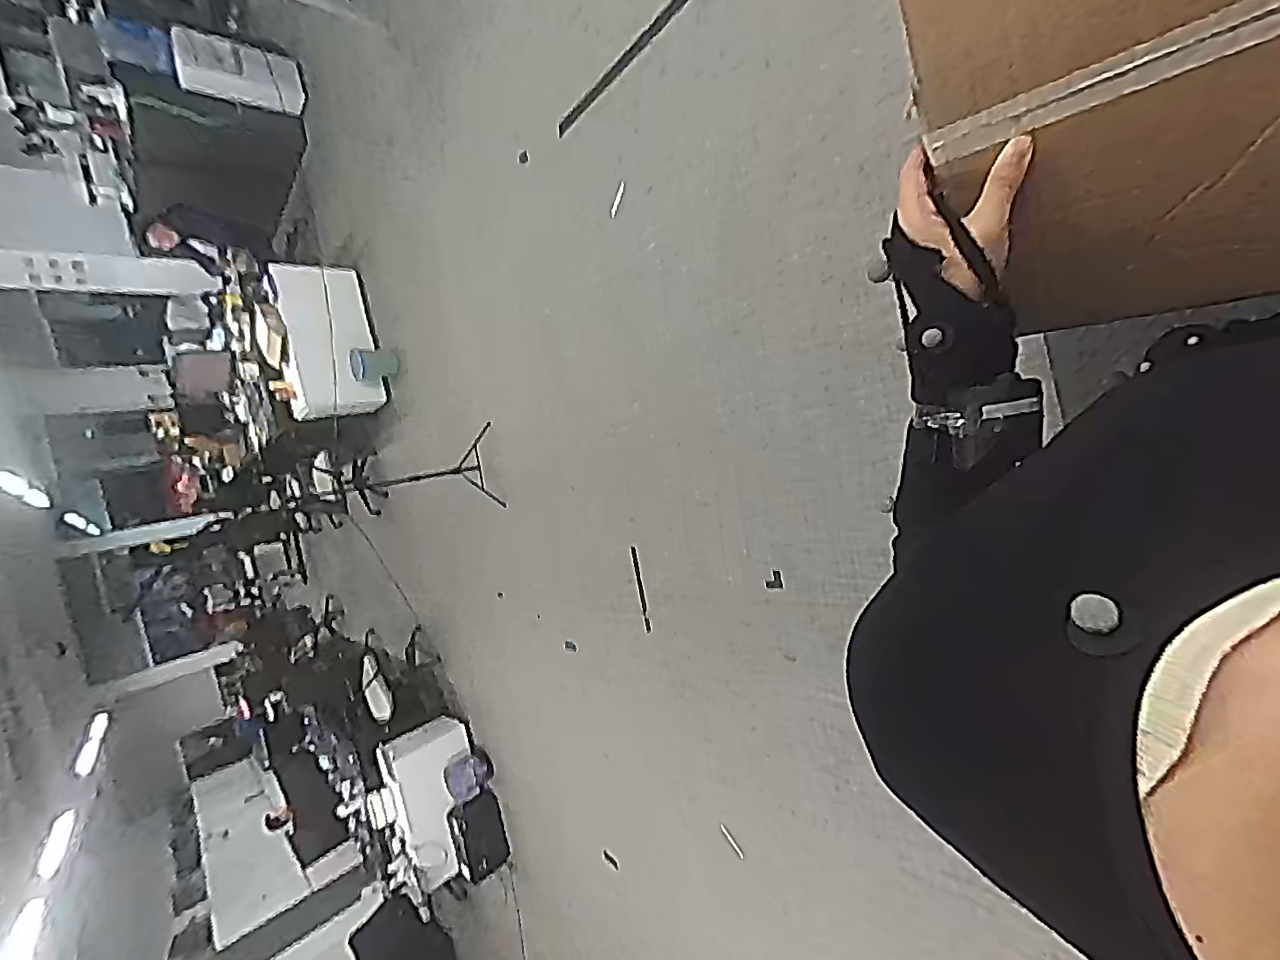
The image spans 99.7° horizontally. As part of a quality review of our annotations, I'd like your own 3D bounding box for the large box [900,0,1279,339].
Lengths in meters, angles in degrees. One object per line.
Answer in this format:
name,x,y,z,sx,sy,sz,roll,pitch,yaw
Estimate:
large box,0.413,-0.333,0.307,0.408,0.320,0.320,-3,134,44
